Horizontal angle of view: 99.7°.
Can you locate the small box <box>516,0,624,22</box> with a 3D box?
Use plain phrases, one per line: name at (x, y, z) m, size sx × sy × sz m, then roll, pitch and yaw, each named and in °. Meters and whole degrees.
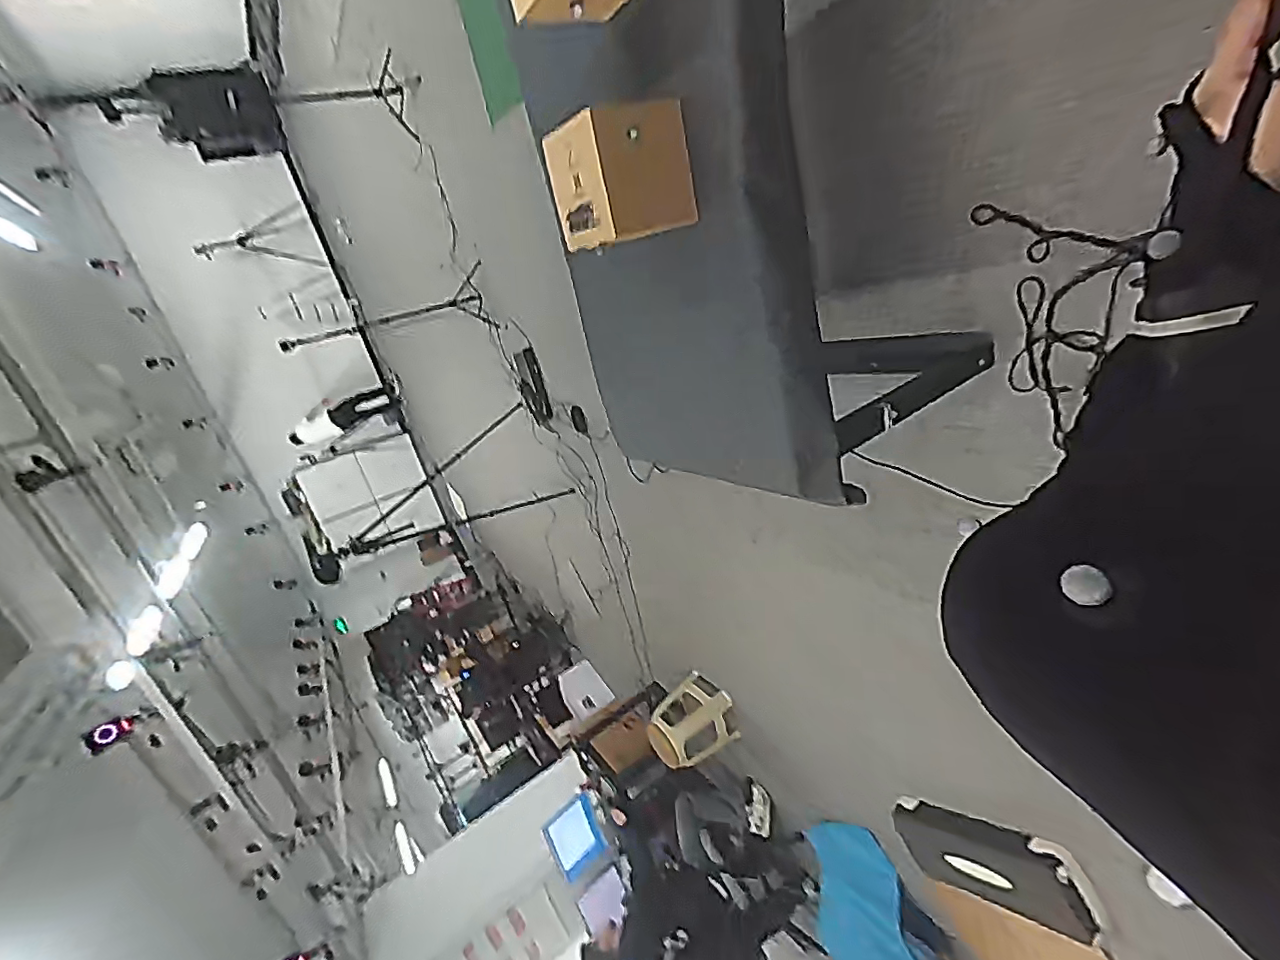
small box at (-0.088, -0.785, 0.755) m, size 0.168 × 0.176 × 0.179 m, roll 21°, pitch 130°, yaw 54°
